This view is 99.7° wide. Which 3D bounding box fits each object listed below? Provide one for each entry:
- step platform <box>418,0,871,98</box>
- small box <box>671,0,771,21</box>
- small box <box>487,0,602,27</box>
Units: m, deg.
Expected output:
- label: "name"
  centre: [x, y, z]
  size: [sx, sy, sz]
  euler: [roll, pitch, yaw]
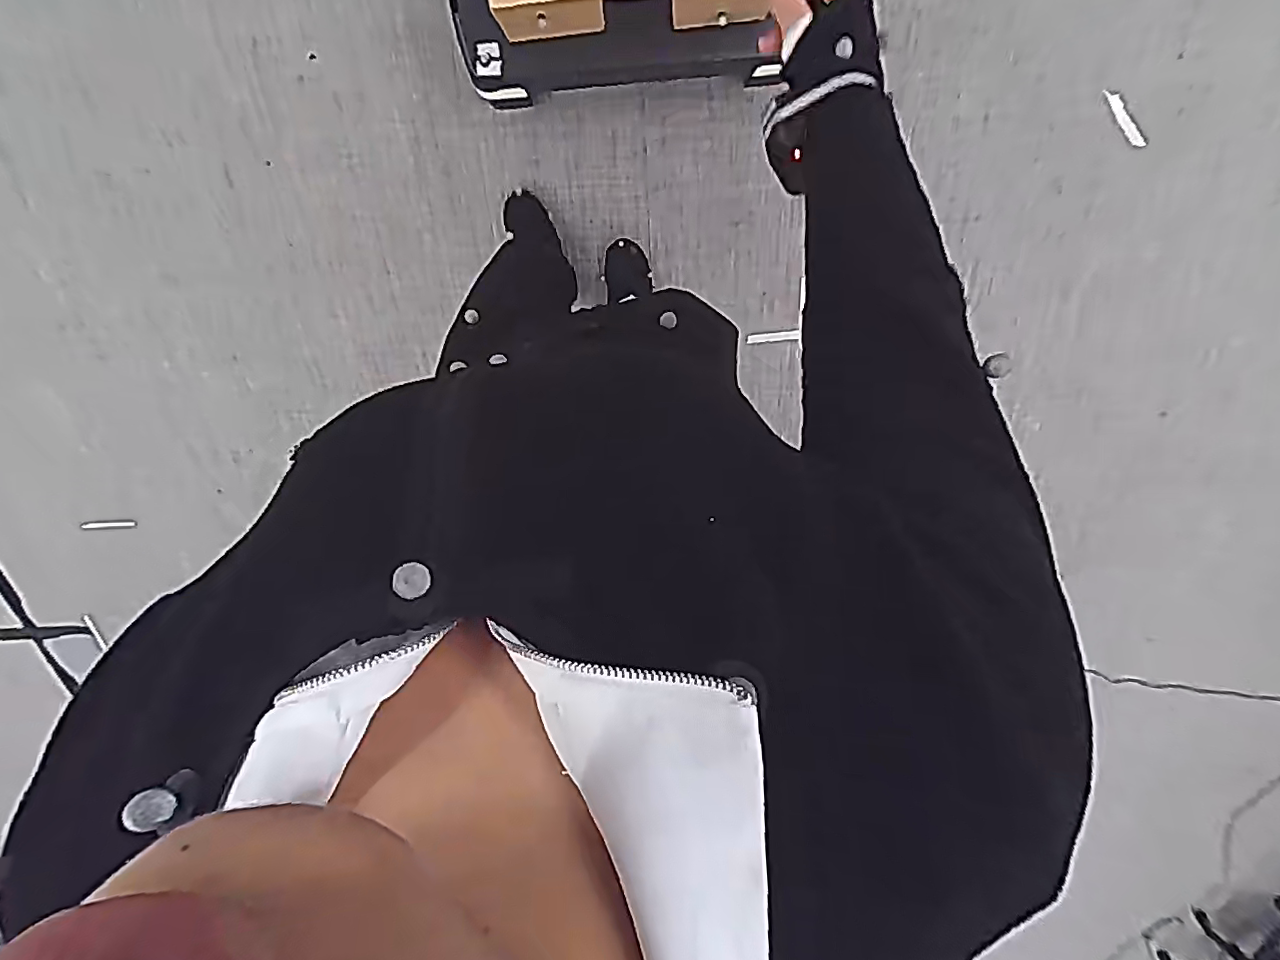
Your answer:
- label: "step platform"
  centre: [0.004, -0.811, 0.857]
  size: [0.684, 0.204, 0.286]
  euler: [-5, 115, 0]
- label: "small box"
  centre: [0.132, -0.869, 0.871]
  size: [0.168, 0.176, 0.179]
  euler: [-5, 115, 2]
- label: "small box"
  centre: [-0.158, -0.846, 0.876]
  size: [0.179, 0.176, 0.168]
  euler: [-6, 115, 2]
